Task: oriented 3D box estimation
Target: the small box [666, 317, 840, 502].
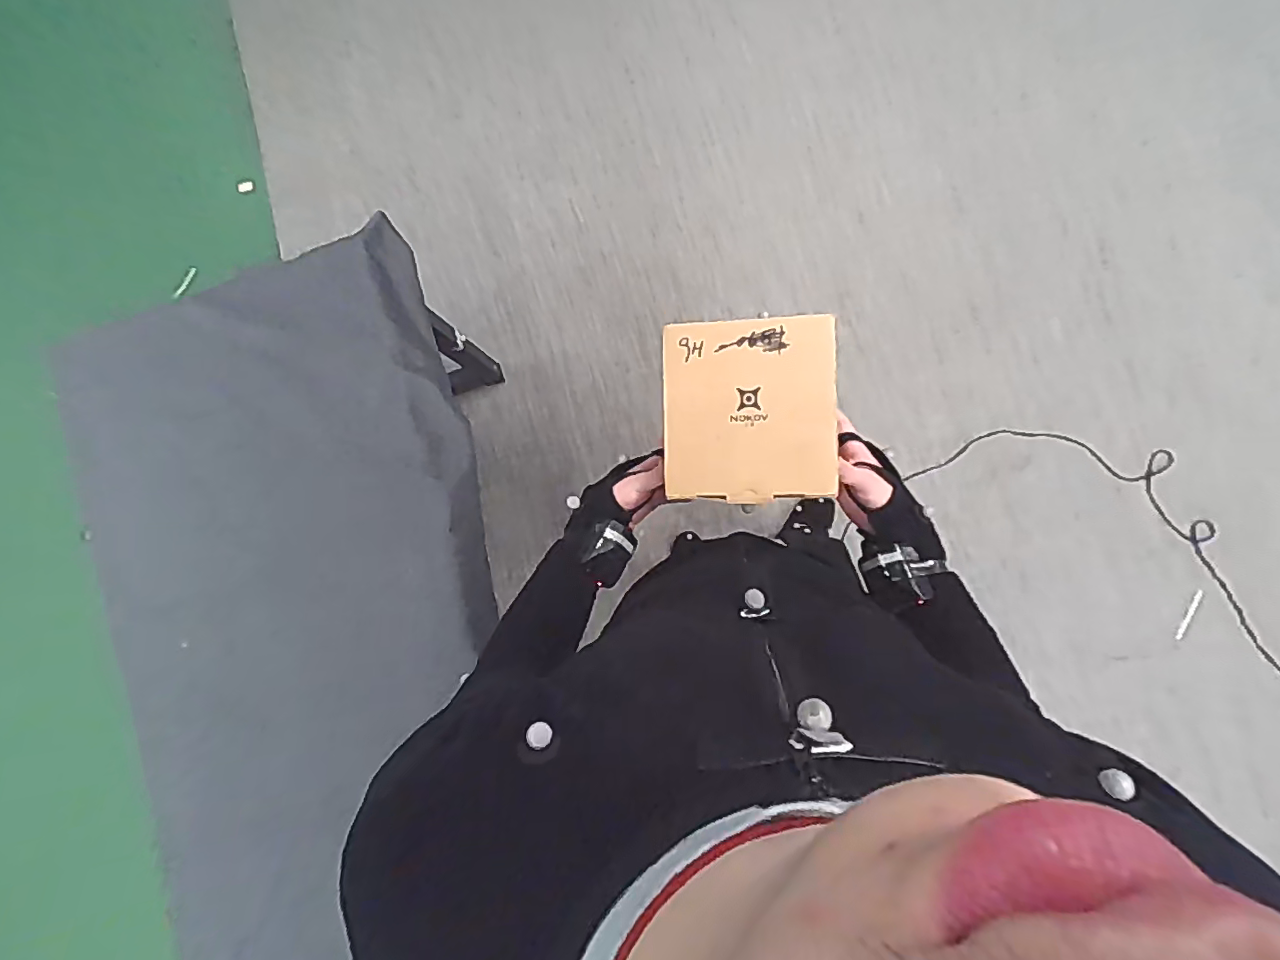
[{"bbox_3d":[0.120,-0.067,0.599,0.168,0.176,0.179,0,89,8],"label":"small box"}]
